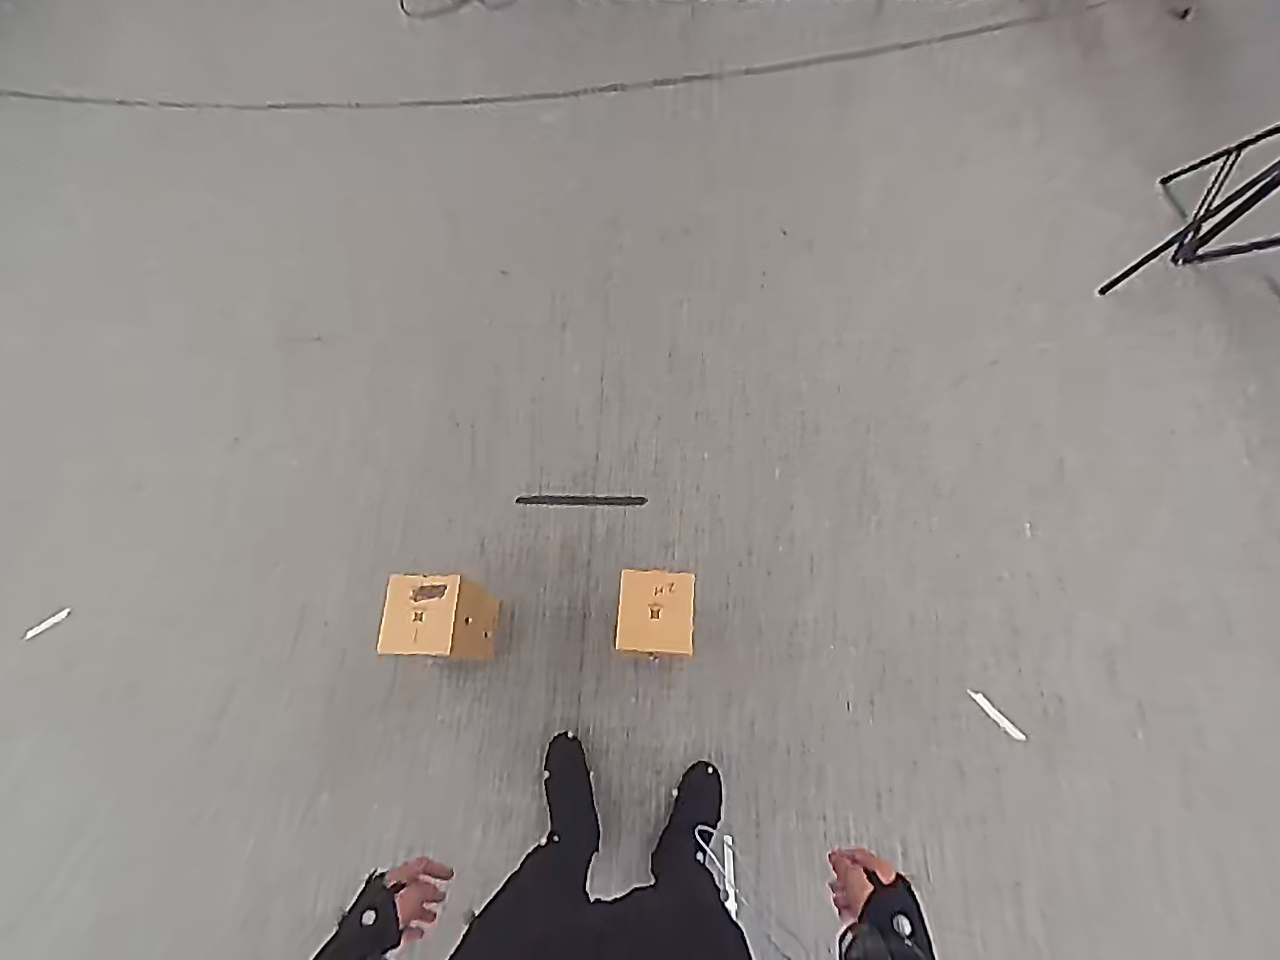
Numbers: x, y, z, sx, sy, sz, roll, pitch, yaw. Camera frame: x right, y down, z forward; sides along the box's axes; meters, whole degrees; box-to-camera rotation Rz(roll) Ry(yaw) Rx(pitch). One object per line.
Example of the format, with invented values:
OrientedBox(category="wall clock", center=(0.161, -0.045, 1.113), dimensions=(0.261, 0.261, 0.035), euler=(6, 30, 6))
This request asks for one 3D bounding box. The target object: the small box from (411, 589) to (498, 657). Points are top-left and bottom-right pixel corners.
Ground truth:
OrientedBox(category="small box", center=(-0.485, 0.376, 1.425), dimensions=(0.179, 0.176, 0.168), euler=(1, 70, 3))

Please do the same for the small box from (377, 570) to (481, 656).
OrientedBox(category="small box", center=(-0.485, 0.317, 1.271), dimensions=(0.168, 0.176, 0.179), euler=(1, 71, 3))

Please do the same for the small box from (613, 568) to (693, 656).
OrientedBox(category="small box", center=(0.034, 0.311, 1.258), dimensions=(0.168, 0.176, 0.179), euler=(4, 70, 3))
